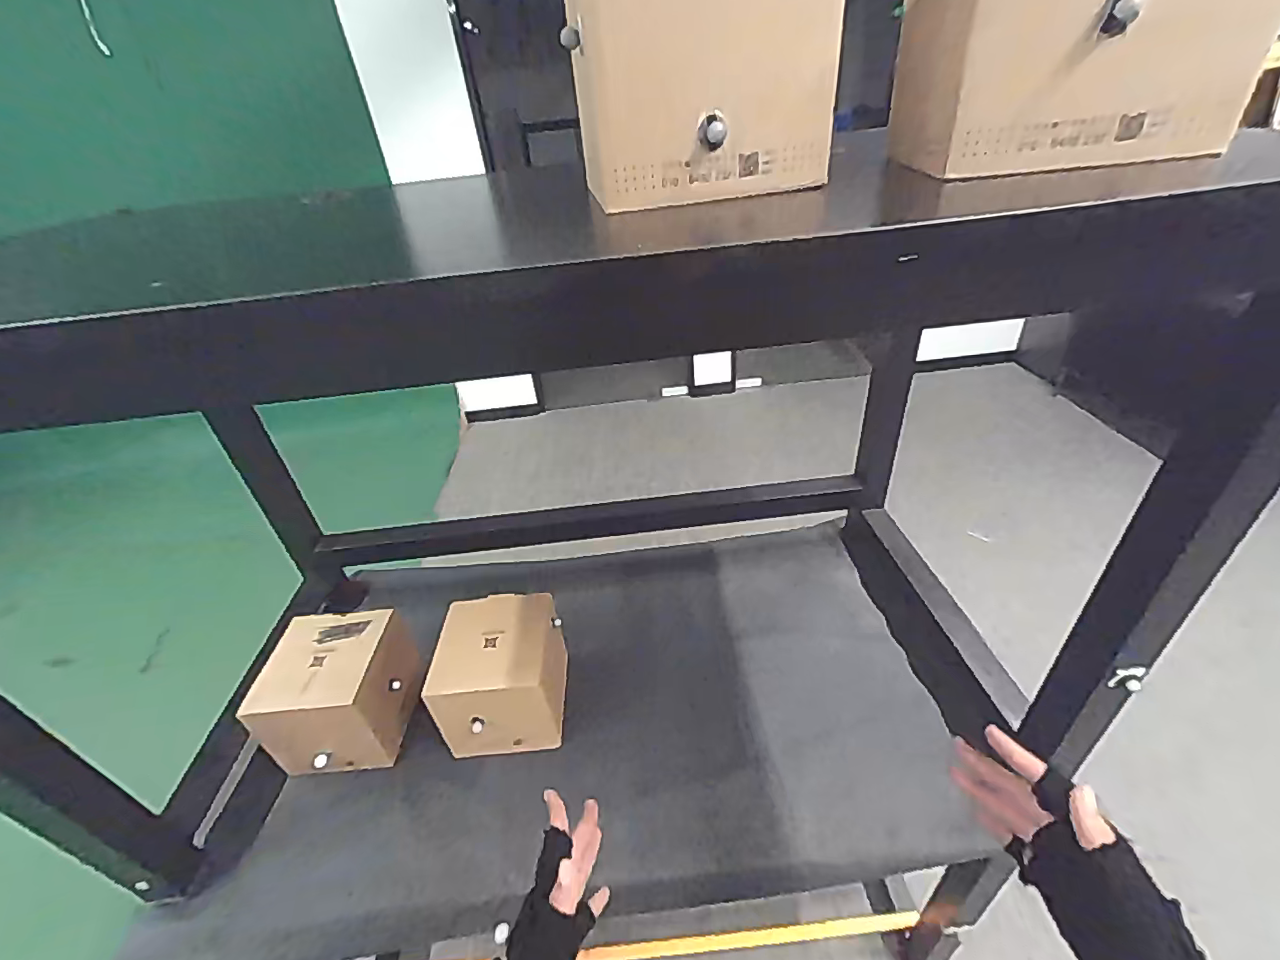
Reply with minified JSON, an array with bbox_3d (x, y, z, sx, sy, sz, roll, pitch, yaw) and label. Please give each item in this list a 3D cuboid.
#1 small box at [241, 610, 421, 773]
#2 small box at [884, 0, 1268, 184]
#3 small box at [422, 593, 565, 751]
[{"bbox_3d":[-0.468,0.332,0.856,0.168,0.176,0.179,-6,35,1],"label":"small box"},{"bbox_3d":[0.285,-0.312,0.378,0.168,0.176,0.179,0,35,9],"label":"small box"},{"bbox_3d":[-0.217,0.307,0.856,0.168,0.176,0.179,-6,34,1],"label":"small box"}]
